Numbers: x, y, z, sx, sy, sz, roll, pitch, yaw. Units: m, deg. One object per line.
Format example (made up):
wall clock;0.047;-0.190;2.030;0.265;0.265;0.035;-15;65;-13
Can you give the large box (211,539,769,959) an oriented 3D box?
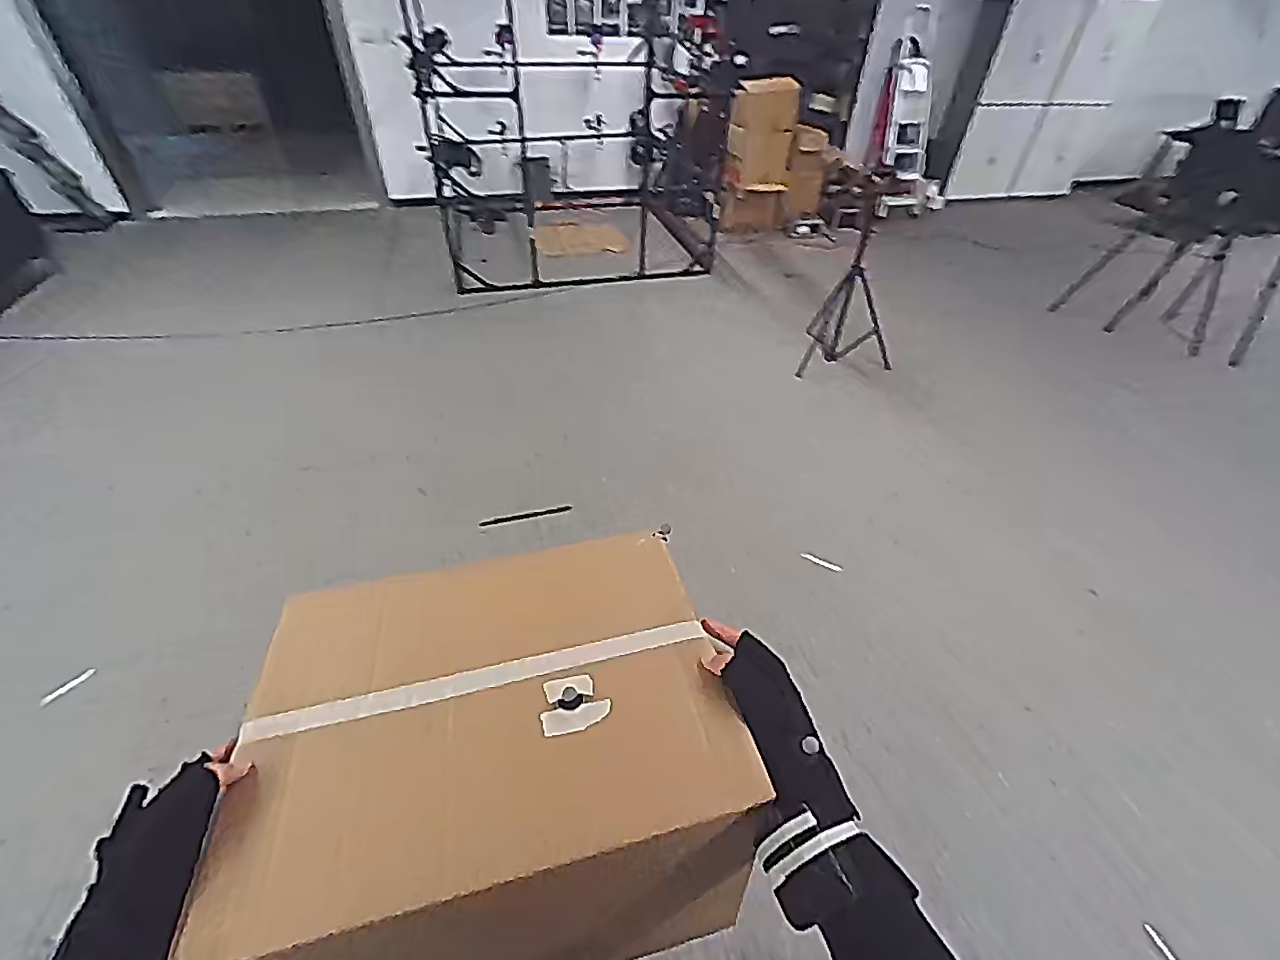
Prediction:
large box;-0.125;0.307;0.589;0.408;0.320;0.320;-8;38;-11
